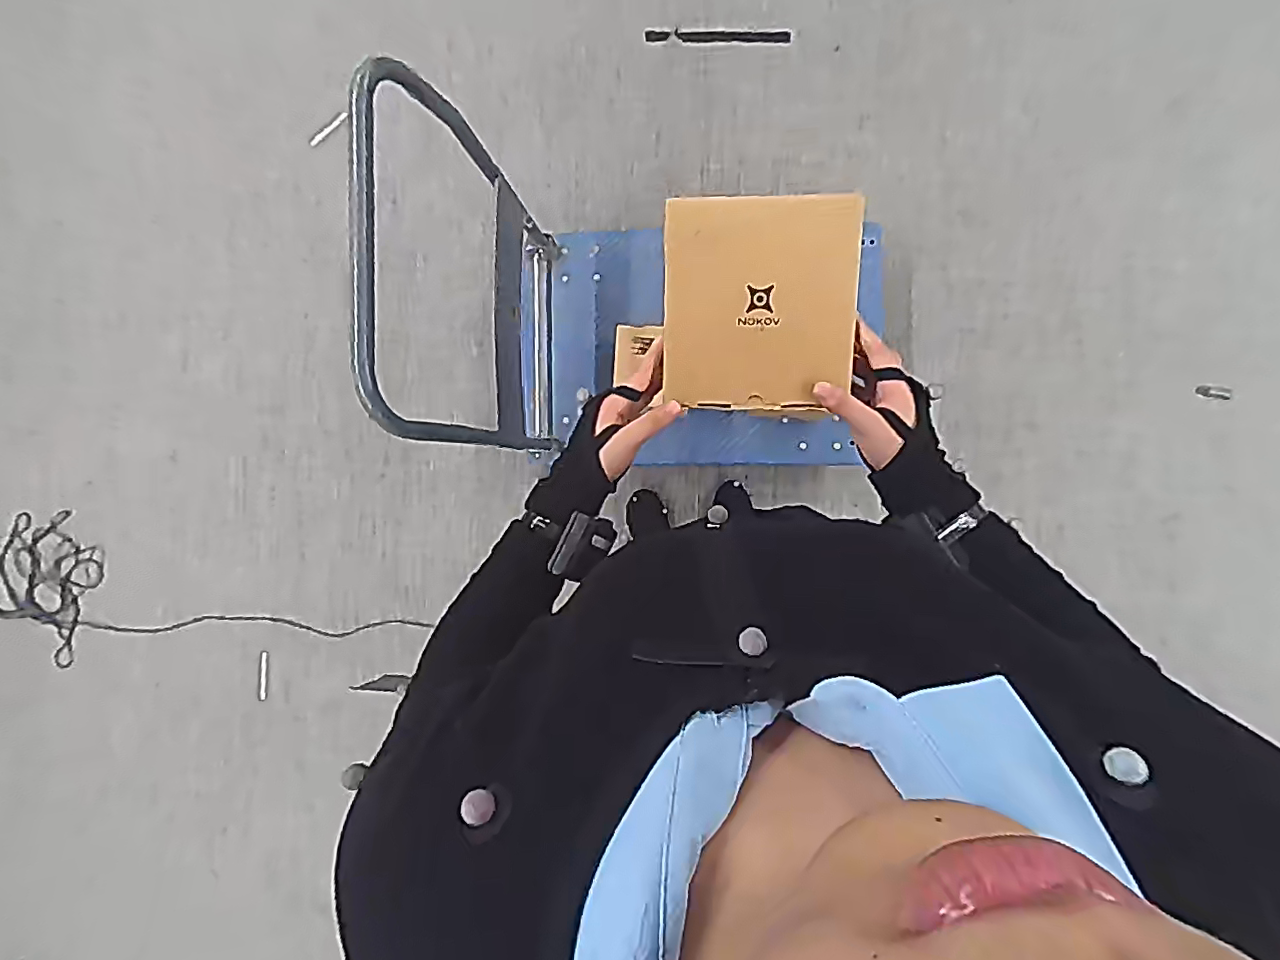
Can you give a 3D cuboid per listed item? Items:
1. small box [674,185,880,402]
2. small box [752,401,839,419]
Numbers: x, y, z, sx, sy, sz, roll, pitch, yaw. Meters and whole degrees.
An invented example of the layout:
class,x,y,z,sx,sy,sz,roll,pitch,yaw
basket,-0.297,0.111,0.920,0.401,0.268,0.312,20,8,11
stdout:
class,x,y,z,sx,sy,sz,roll,pitch,yaw
small box,0.118,-0.168,0.535,0.168,0.176,0.179,0,100,3
small box,0.347,-0.238,1.215,0.168,0.176,0.179,4,90,5
